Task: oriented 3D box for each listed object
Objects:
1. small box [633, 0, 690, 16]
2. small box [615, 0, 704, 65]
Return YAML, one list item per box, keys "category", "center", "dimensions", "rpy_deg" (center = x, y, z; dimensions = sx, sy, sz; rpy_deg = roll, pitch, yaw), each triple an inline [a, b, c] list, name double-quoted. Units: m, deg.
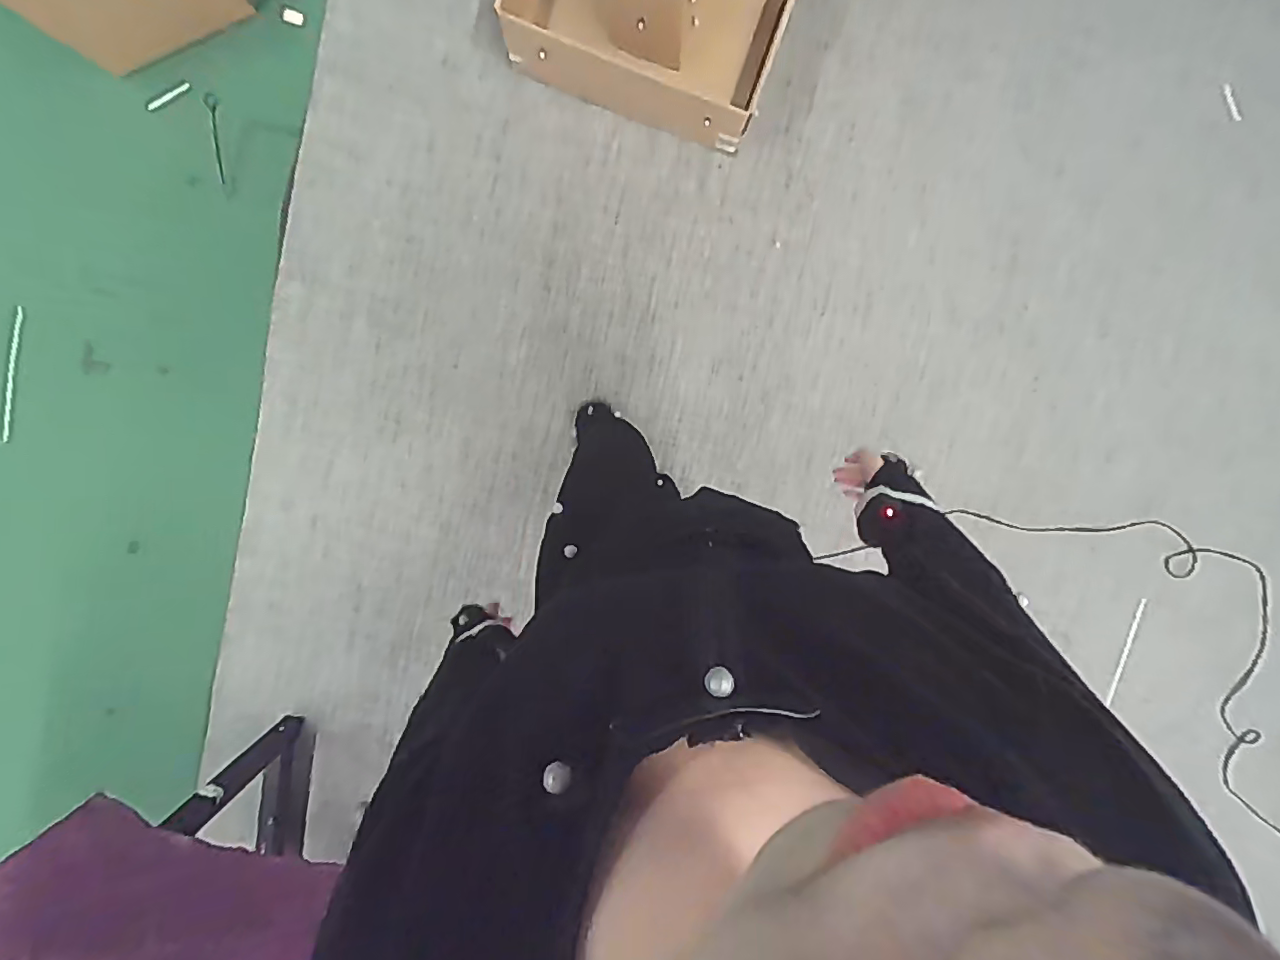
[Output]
- category: "small box"
  center: [0.042, -1.074, 1.062]
  dimensions: [0.179, 0.176, 0.168]
  rpy_deg: [20, 96, -1]
- category: "small box"
  center: [0.045, -1.094, 1.226]
  dimensions: [0.179, 0.176, 0.168]
  rpy_deg: [19, 97, -2]
